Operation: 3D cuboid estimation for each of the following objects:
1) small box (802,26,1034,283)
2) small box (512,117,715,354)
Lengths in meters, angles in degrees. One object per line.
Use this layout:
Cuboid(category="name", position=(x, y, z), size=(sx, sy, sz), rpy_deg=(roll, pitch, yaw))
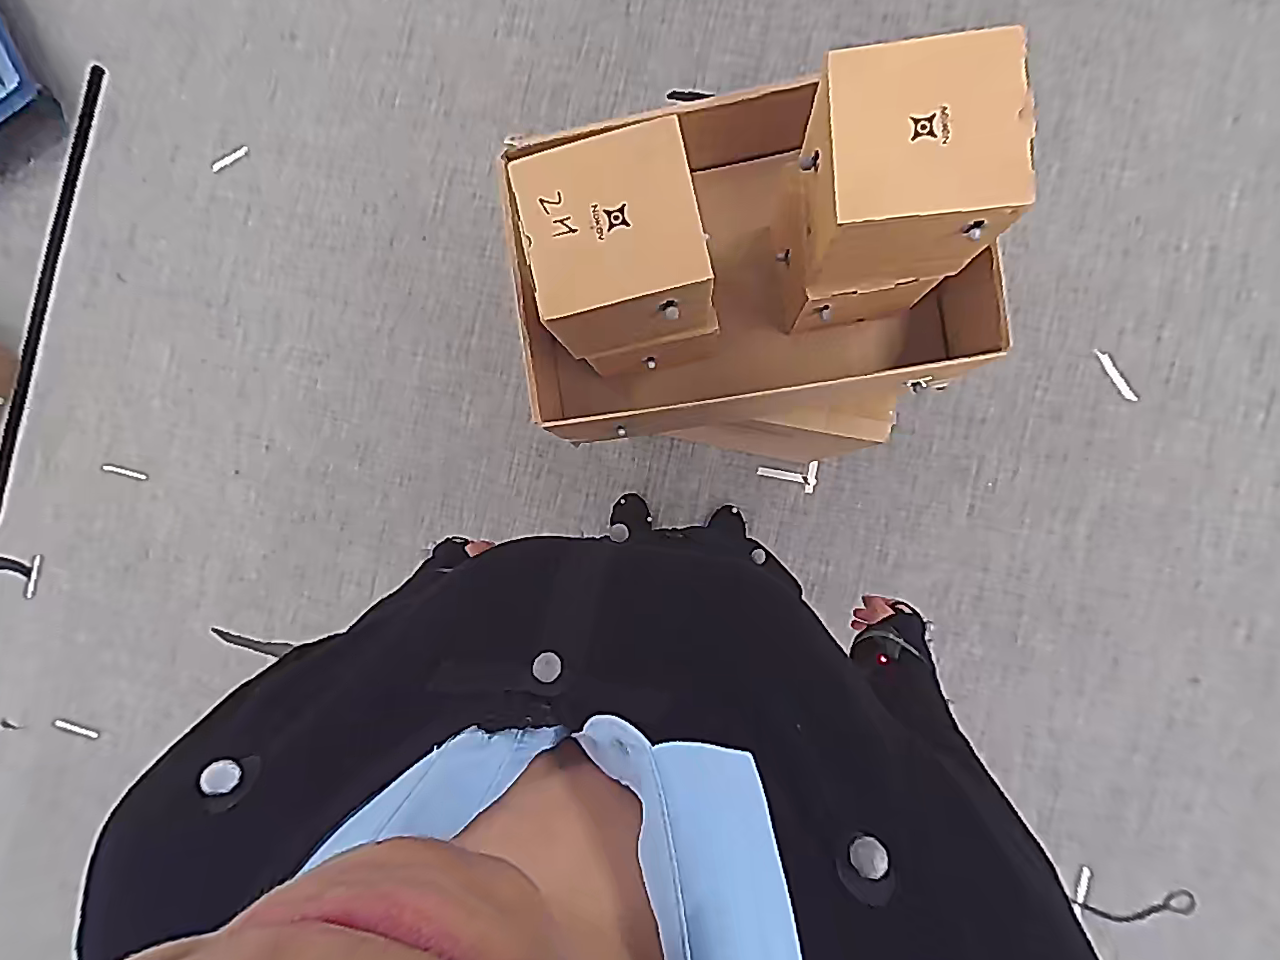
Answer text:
Cuboid(category="small box", position=(0.274, -0.324, 0.576), size=(0.179, 0.176, 0.168), rpy_deg=(-3, 89, 6))
Cuboid(category="small box", position=(-0.020, -0.254, 0.606), size=(0.179, 0.176, 0.168), rpy_deg=(-12, 88, 6))
